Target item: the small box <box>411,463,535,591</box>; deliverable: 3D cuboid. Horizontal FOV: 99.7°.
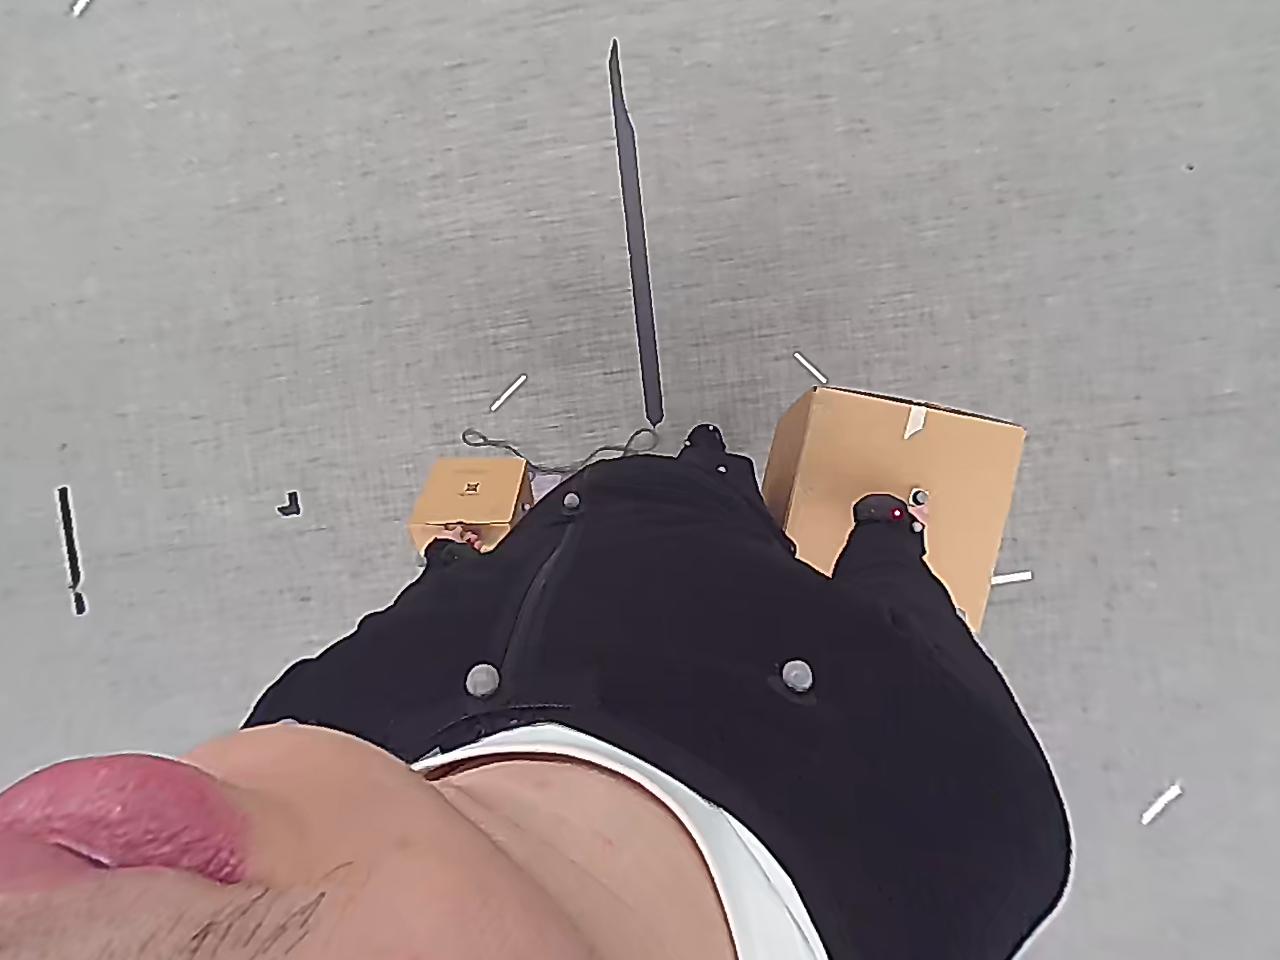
[{"bbox_3d":[-0.290,0.086,0.986,0.168,0.179,0.176,0,129,-1],"label":"small box"}]
